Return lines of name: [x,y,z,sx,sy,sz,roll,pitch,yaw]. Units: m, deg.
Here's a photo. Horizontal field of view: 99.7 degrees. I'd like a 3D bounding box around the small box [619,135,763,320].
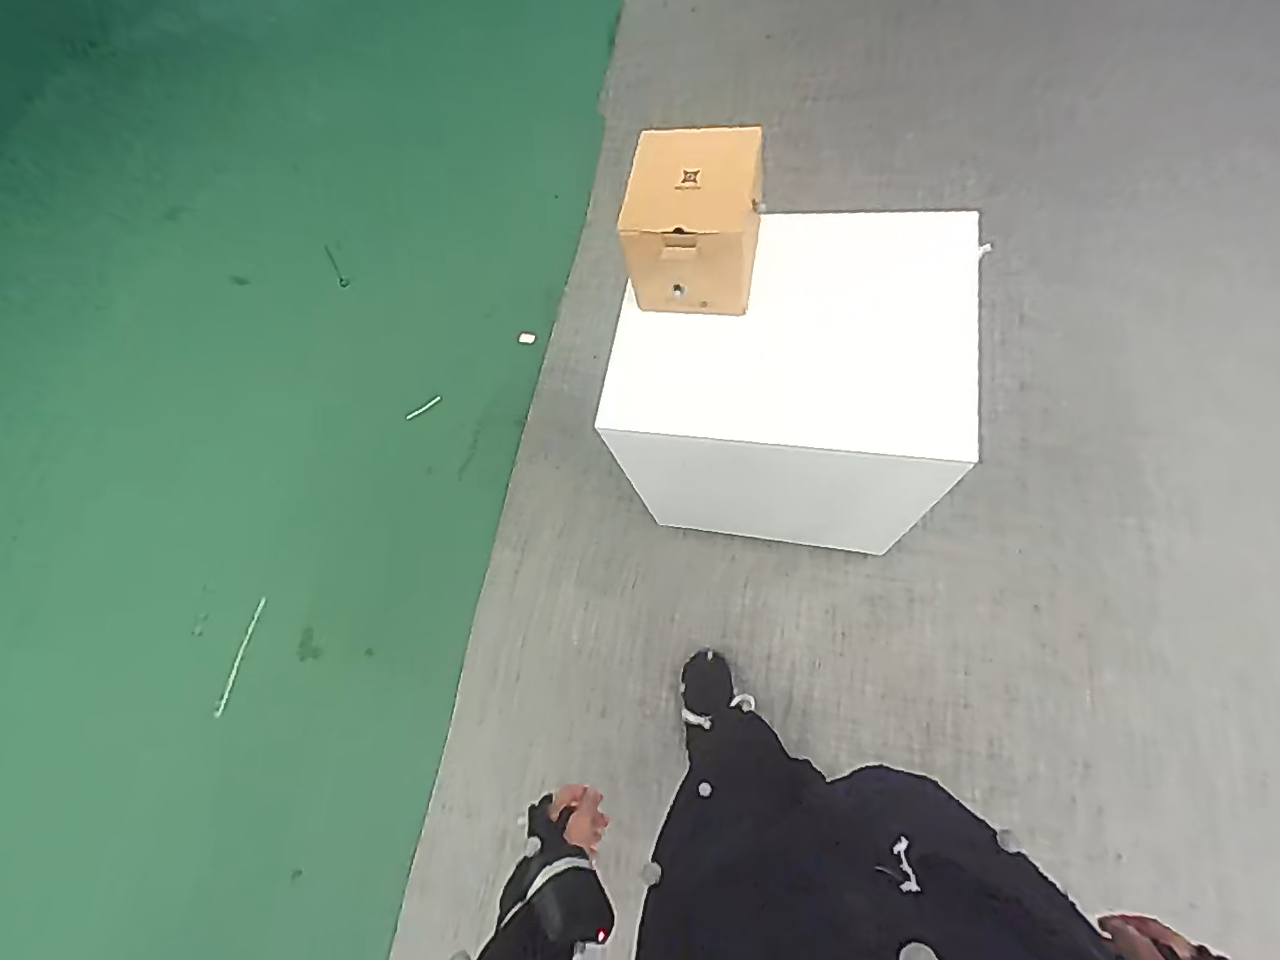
small box: [0.080,-0.358,0.779,0.168,0.176,0.179,7,73,13]
